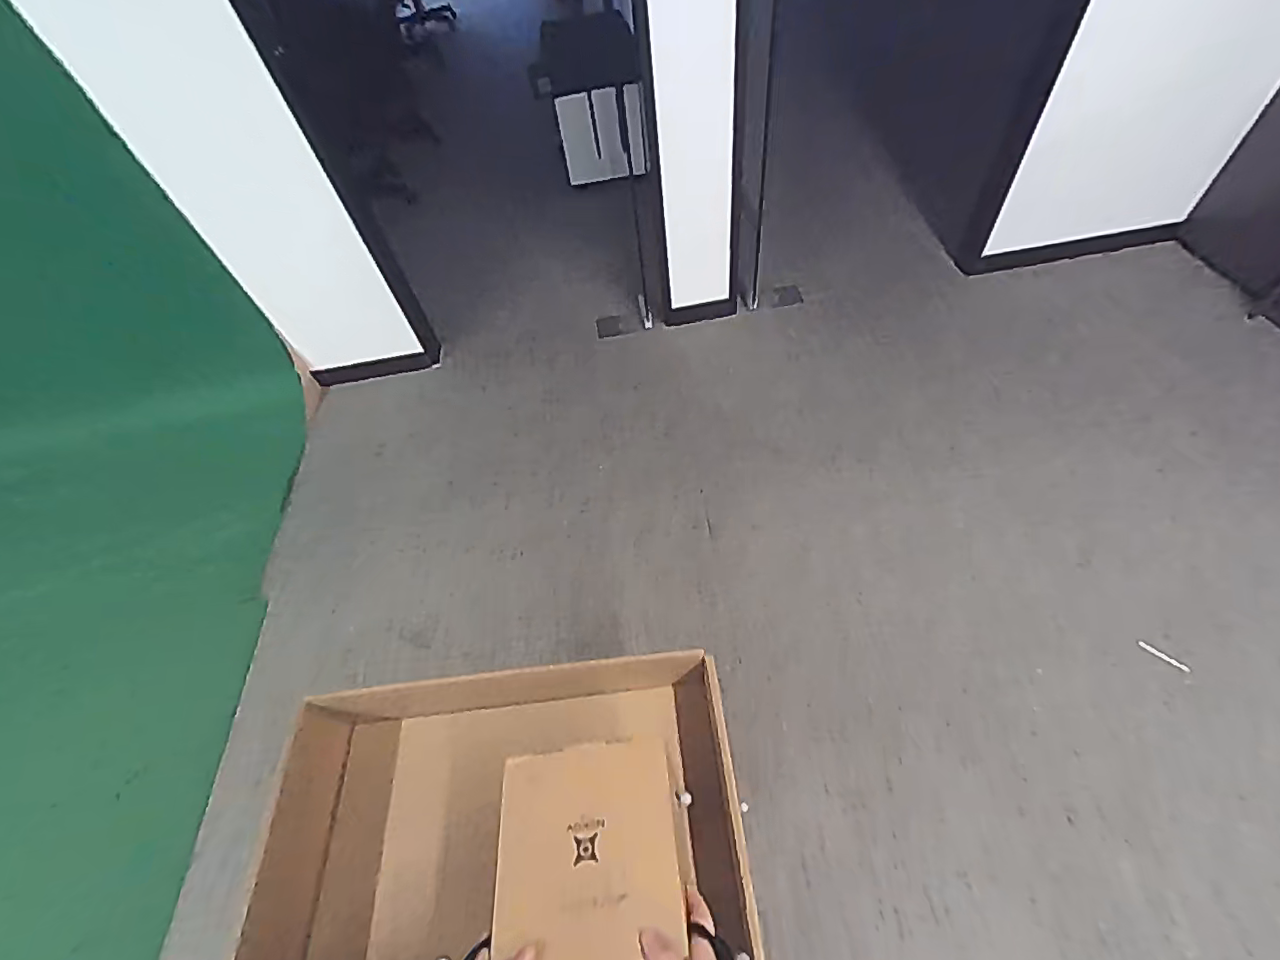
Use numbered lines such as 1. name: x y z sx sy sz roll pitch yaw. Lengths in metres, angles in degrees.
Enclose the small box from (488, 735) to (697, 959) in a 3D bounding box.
1. small box: -0.038 0.388 0.550 0.168 0.176 0.179 -9 44 3
